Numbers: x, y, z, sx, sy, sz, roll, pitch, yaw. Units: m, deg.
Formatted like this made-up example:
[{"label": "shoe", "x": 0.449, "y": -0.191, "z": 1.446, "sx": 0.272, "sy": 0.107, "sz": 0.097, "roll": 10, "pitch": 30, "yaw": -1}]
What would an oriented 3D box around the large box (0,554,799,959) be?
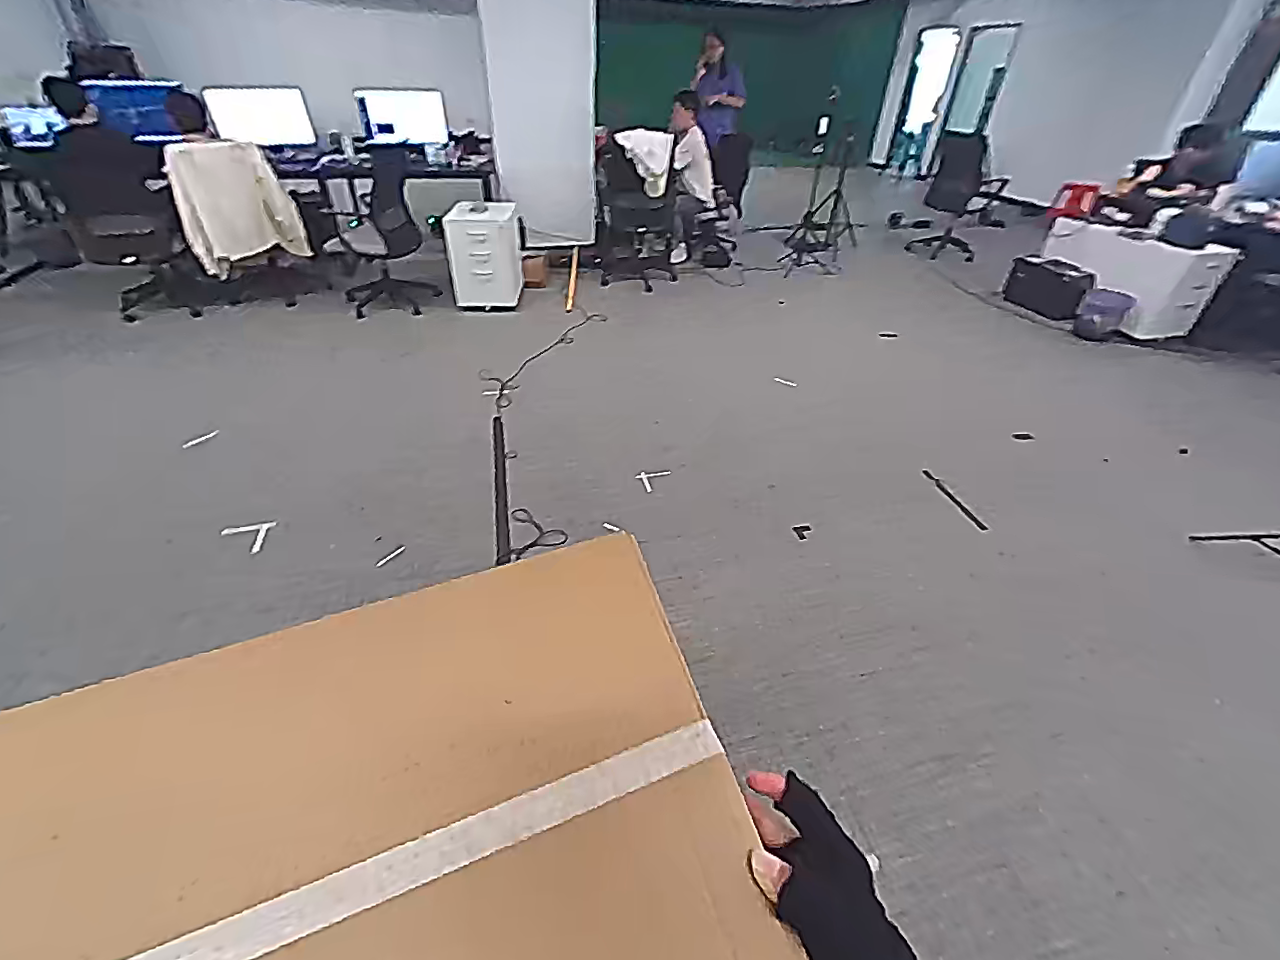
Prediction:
[{"label": "large box", "x": -0.146, "y": 0.308, "z": 0.413, "sx": 0.408, "sy": 0.320, "sz": 0.320, "roll": -15, "pitch": 57, "yaw": -14}]
